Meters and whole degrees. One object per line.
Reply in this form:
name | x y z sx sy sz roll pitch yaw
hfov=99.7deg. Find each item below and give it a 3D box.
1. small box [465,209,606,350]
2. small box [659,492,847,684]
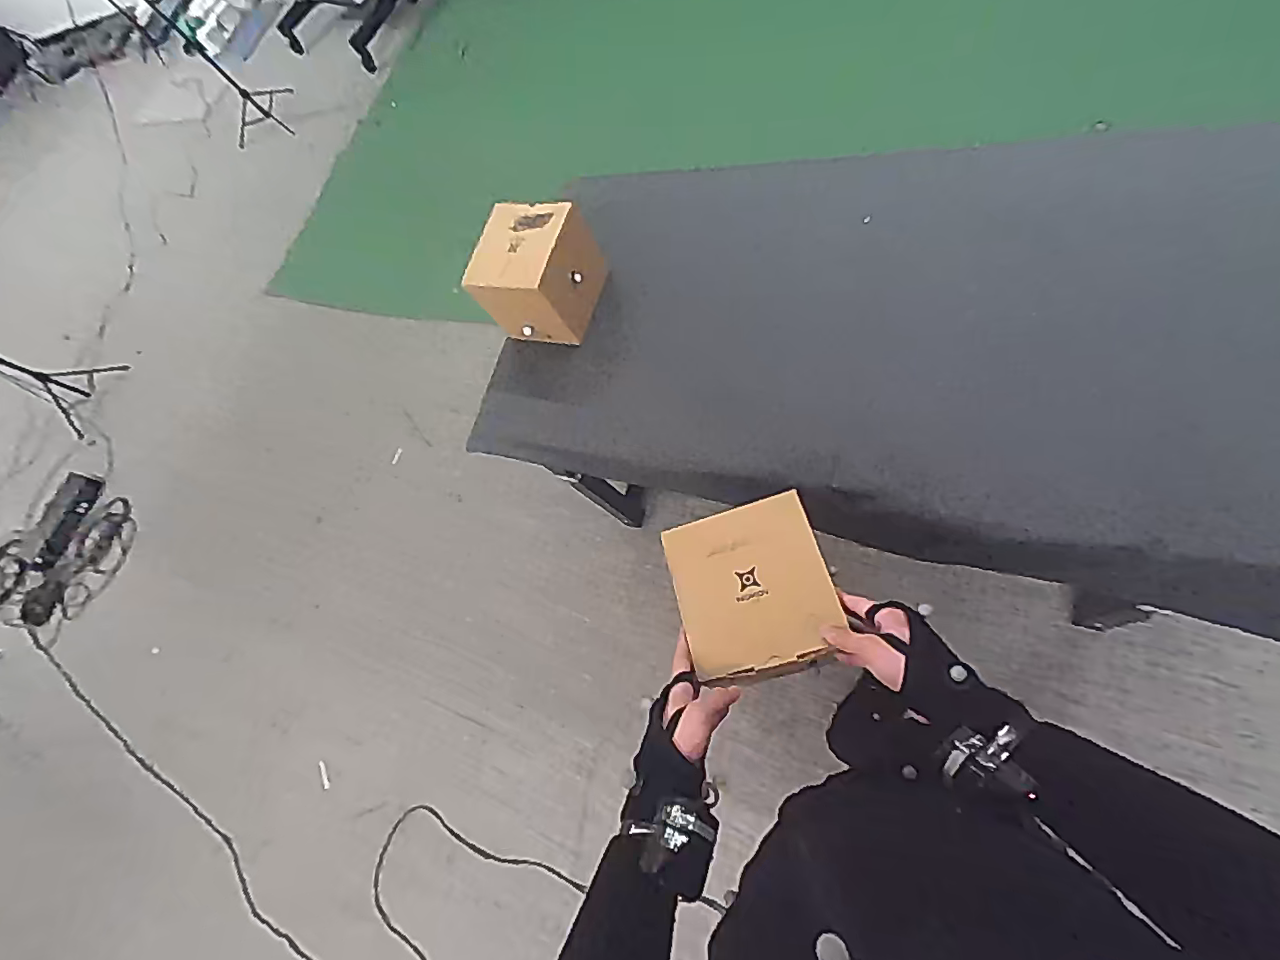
small box | -0.180 -0.364 0.991 0.168 0.176 0.179 12 76 24
small box | 0.139 0.143 0.666 0.168 0.176 0.179 -19 62 8
